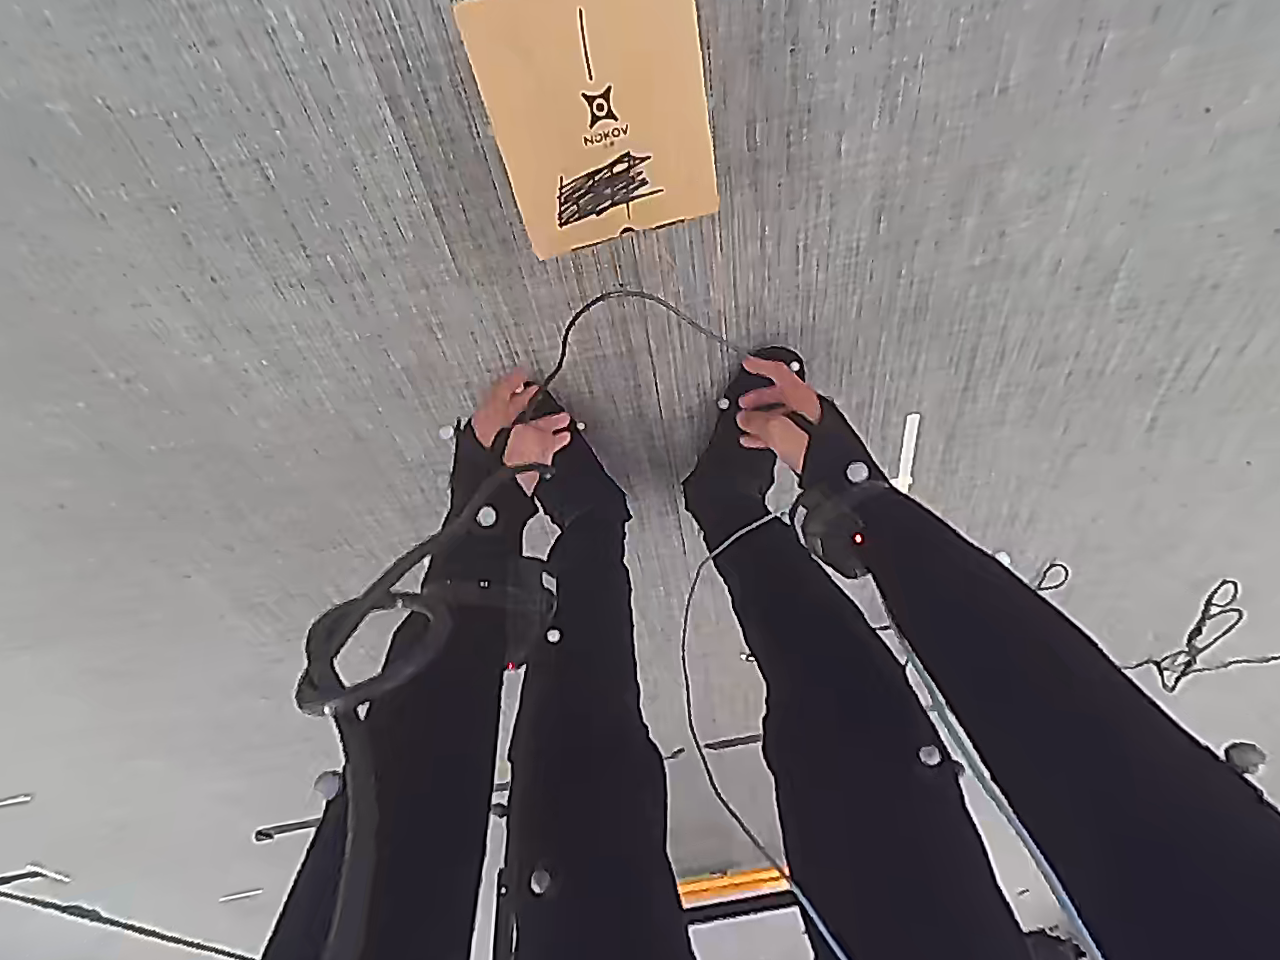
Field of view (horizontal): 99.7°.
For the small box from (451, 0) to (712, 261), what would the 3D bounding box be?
[{"bbox_3d":[-0.041,-0.323,0.476,0.168,0.176,0.179,-14,129,3],"label":"small box"}]
